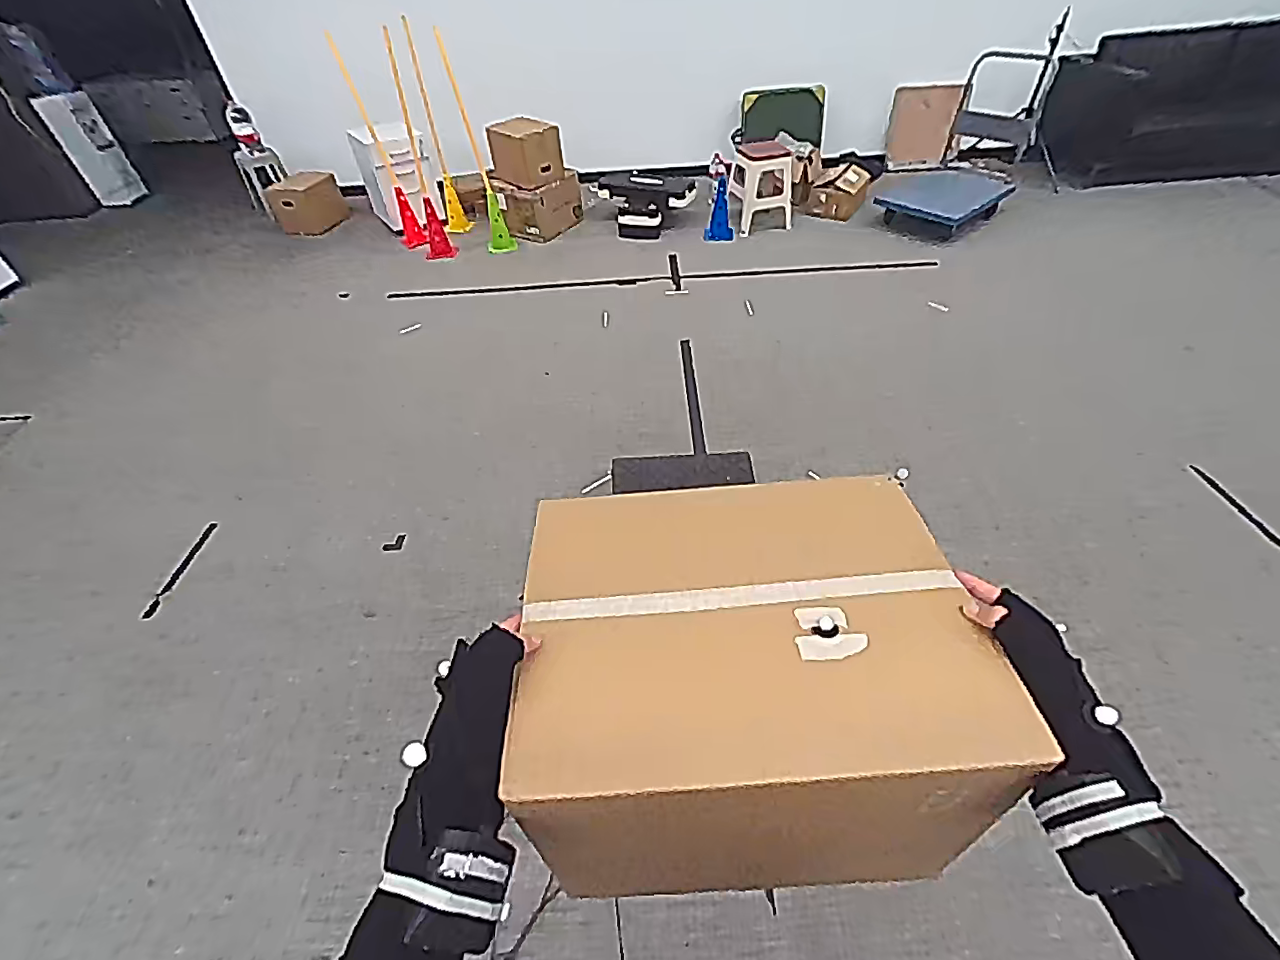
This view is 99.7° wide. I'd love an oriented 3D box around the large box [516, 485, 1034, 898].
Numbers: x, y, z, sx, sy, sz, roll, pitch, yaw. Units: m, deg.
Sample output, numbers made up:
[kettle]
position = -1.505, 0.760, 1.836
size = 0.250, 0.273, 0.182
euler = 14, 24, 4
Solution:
[large box]
position = 0.103, 0.234, 0.614
size = 0.408, 0.320, 0.320
euler = -5, 41, 1
